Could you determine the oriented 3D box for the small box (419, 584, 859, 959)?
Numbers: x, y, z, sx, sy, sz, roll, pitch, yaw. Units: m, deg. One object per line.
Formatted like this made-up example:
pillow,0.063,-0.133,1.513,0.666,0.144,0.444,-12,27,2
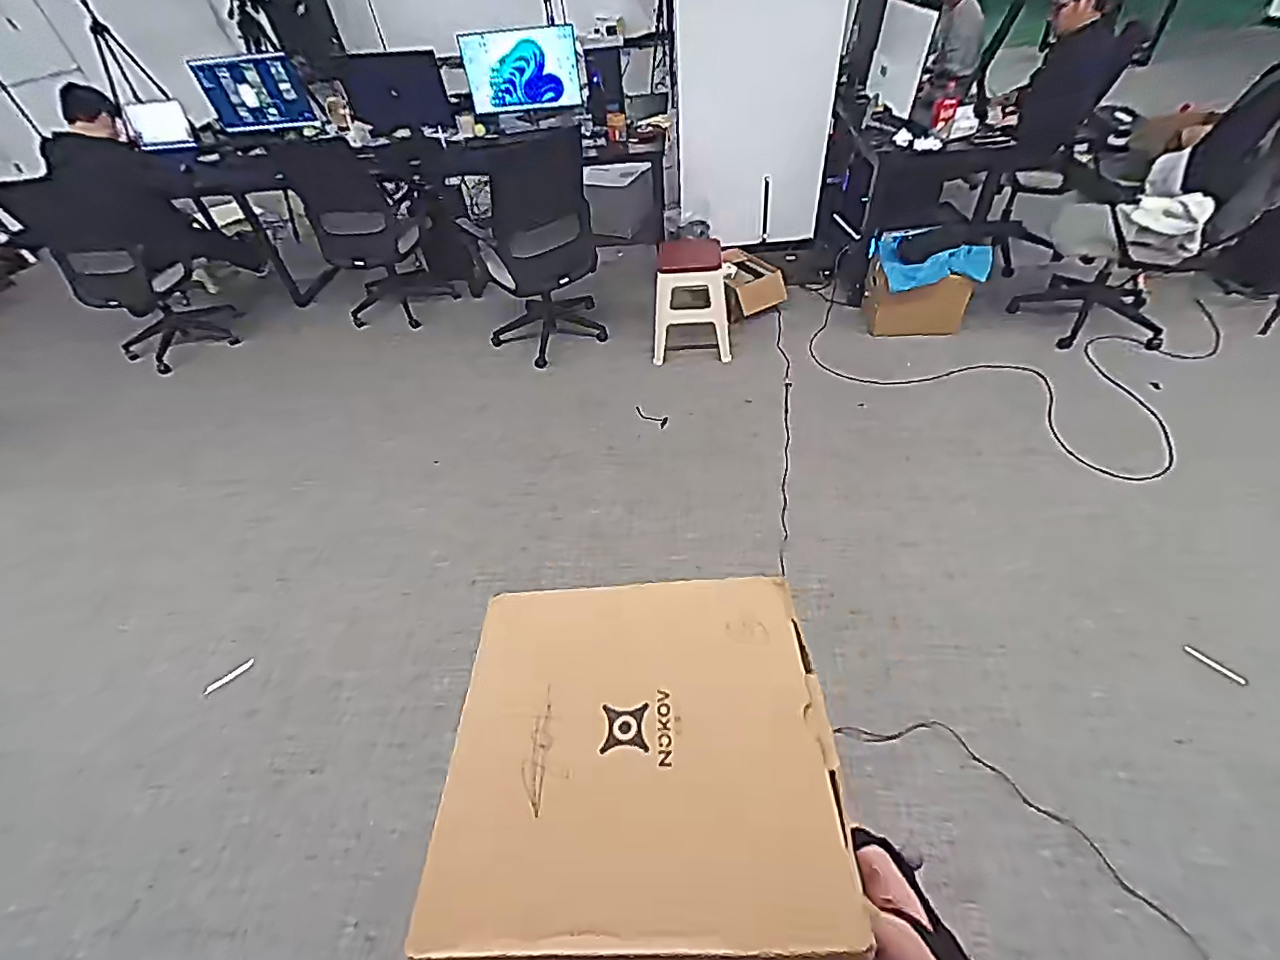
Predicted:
small box,0.007,0.182,0.321,0.179,0.176,0.168,-6,42,5
